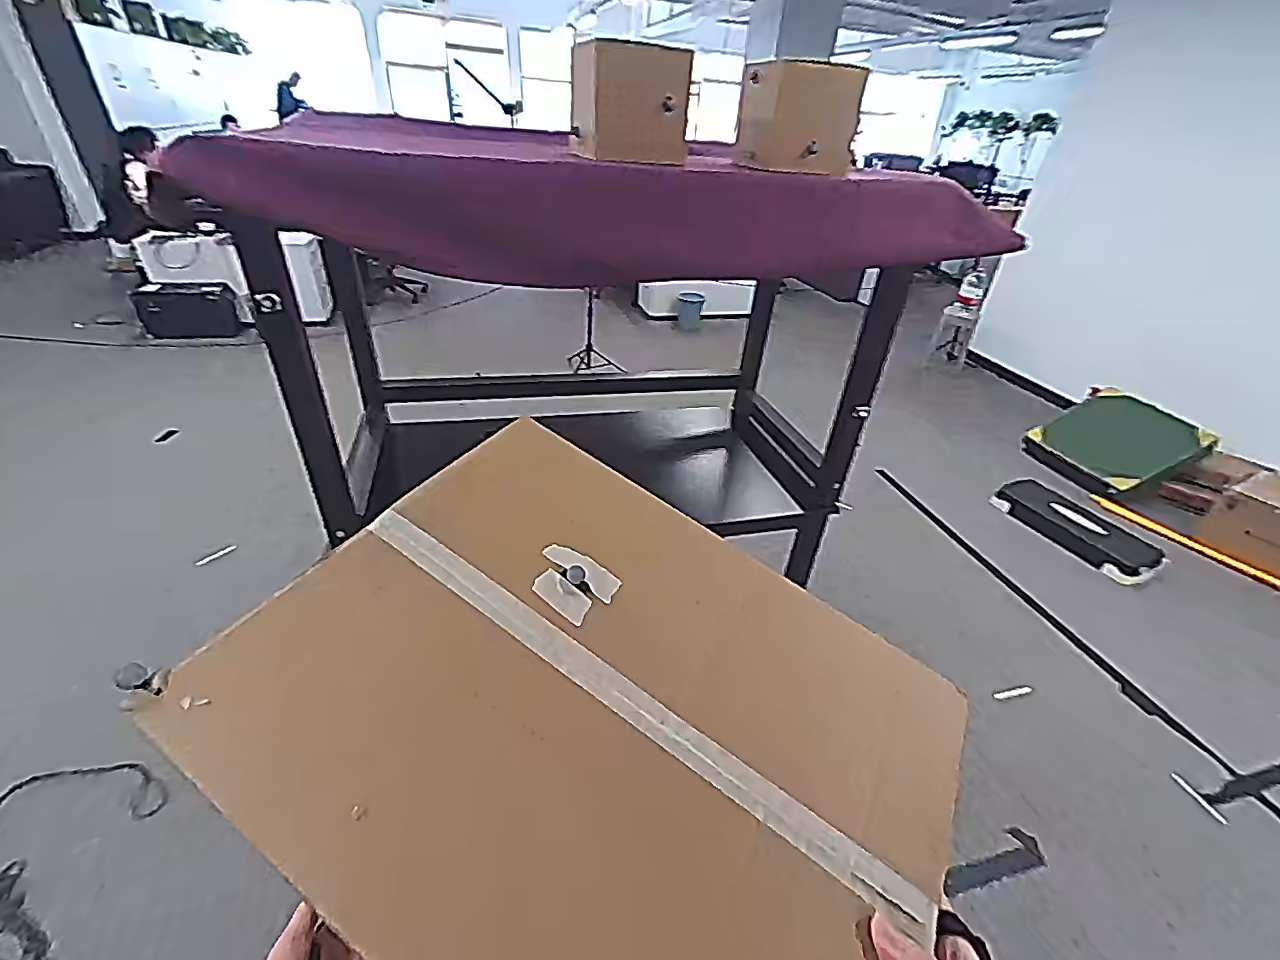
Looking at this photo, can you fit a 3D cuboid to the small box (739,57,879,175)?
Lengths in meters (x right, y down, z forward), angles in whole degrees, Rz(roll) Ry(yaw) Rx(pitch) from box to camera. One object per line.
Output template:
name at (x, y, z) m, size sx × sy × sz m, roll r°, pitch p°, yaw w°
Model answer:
small box at (0.309, -0.682, 1.025) m, size 0.179 × 0.176 × 0.168 m, roll -4°, pitch 34°, yaw -14°

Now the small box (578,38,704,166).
small box at (-0.008, -0.663, 0.960) m, size 0.179 × 0.176 × 0.168 m, roll -9°, pitch 35°, yaw -19°

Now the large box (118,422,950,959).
large box at (-0.051, 0.228, 0.433) m, size 0.408 × 0.320 × 0.320 m, roll 31°, pitch 47°, yaw 14°
